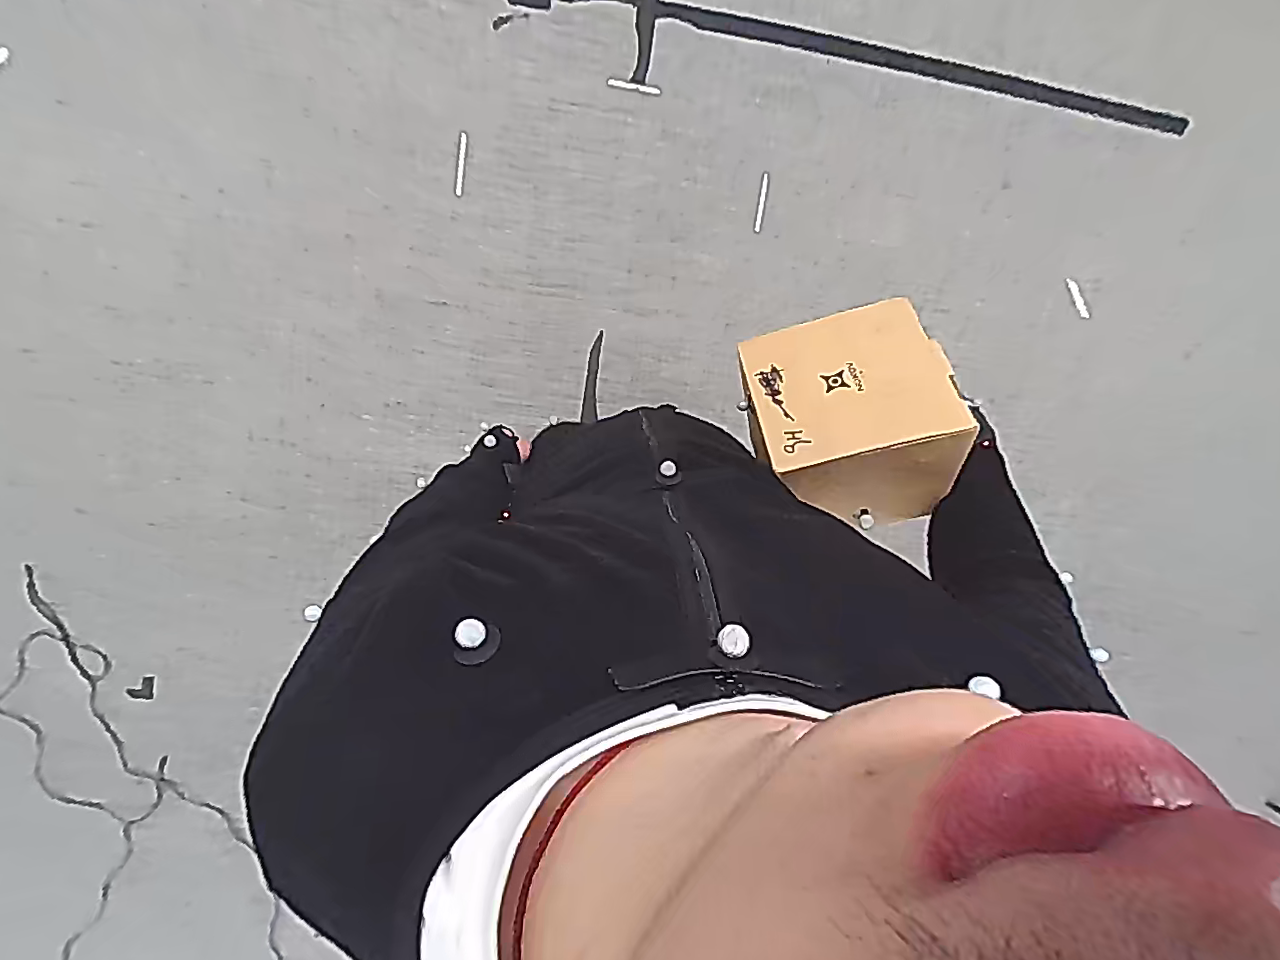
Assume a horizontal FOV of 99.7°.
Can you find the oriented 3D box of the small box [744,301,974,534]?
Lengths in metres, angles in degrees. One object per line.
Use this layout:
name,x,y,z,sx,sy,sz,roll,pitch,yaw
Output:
small box,0.221,-0.059,0.593,0.179,0.176,0.168,-13,57,9
